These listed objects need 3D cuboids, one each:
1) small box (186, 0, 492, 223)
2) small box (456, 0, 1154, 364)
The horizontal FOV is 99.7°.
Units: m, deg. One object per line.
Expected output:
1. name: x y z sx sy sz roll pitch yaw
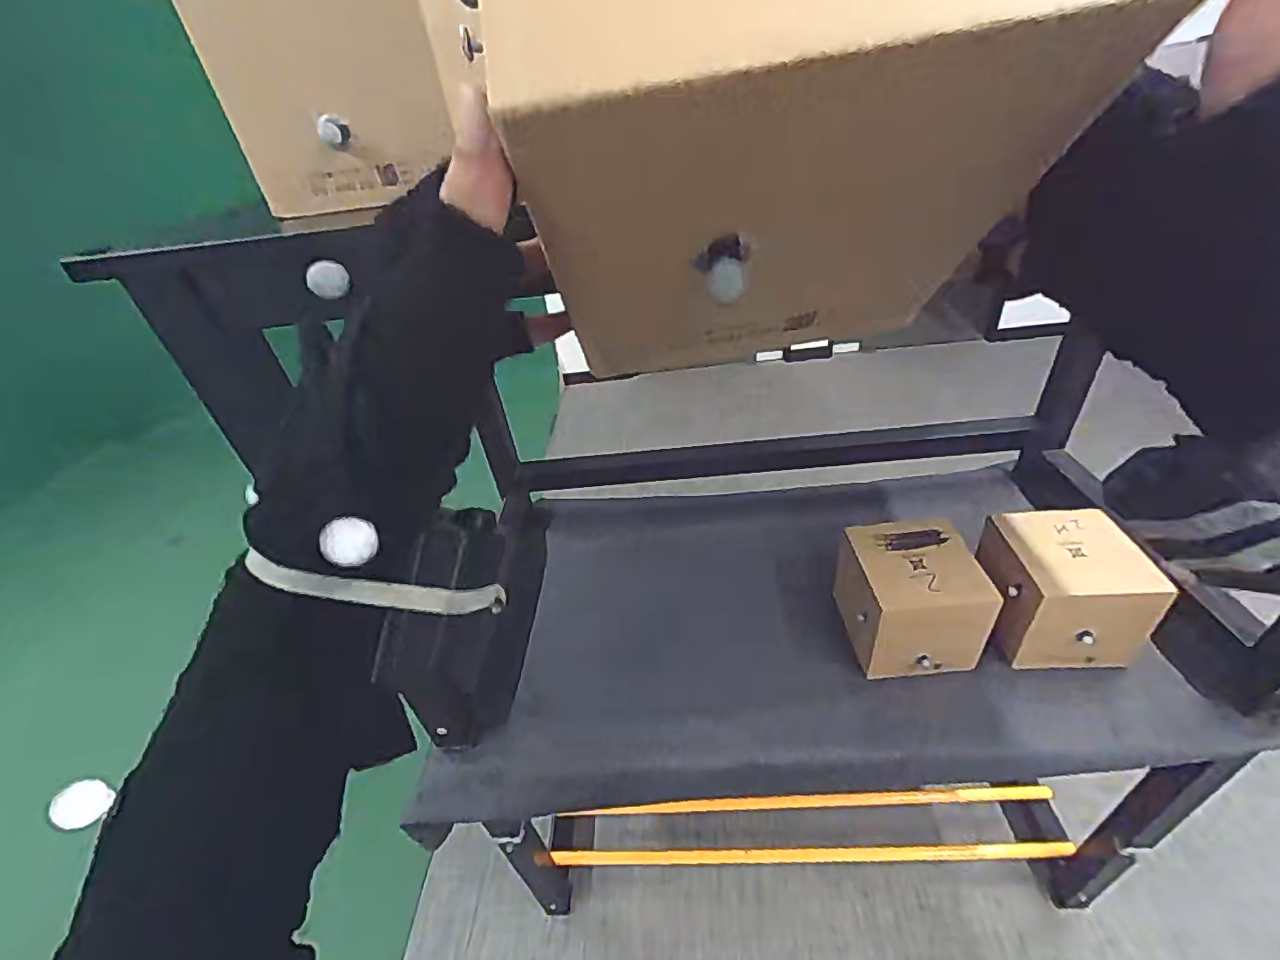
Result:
1. small box: -0.216 -0.324 0.449 0.168 0.176 0.179 -4 37 6
2. small box: 0.034 -0.161 0.222 0.168 0.176 0.179 -9 77 2
